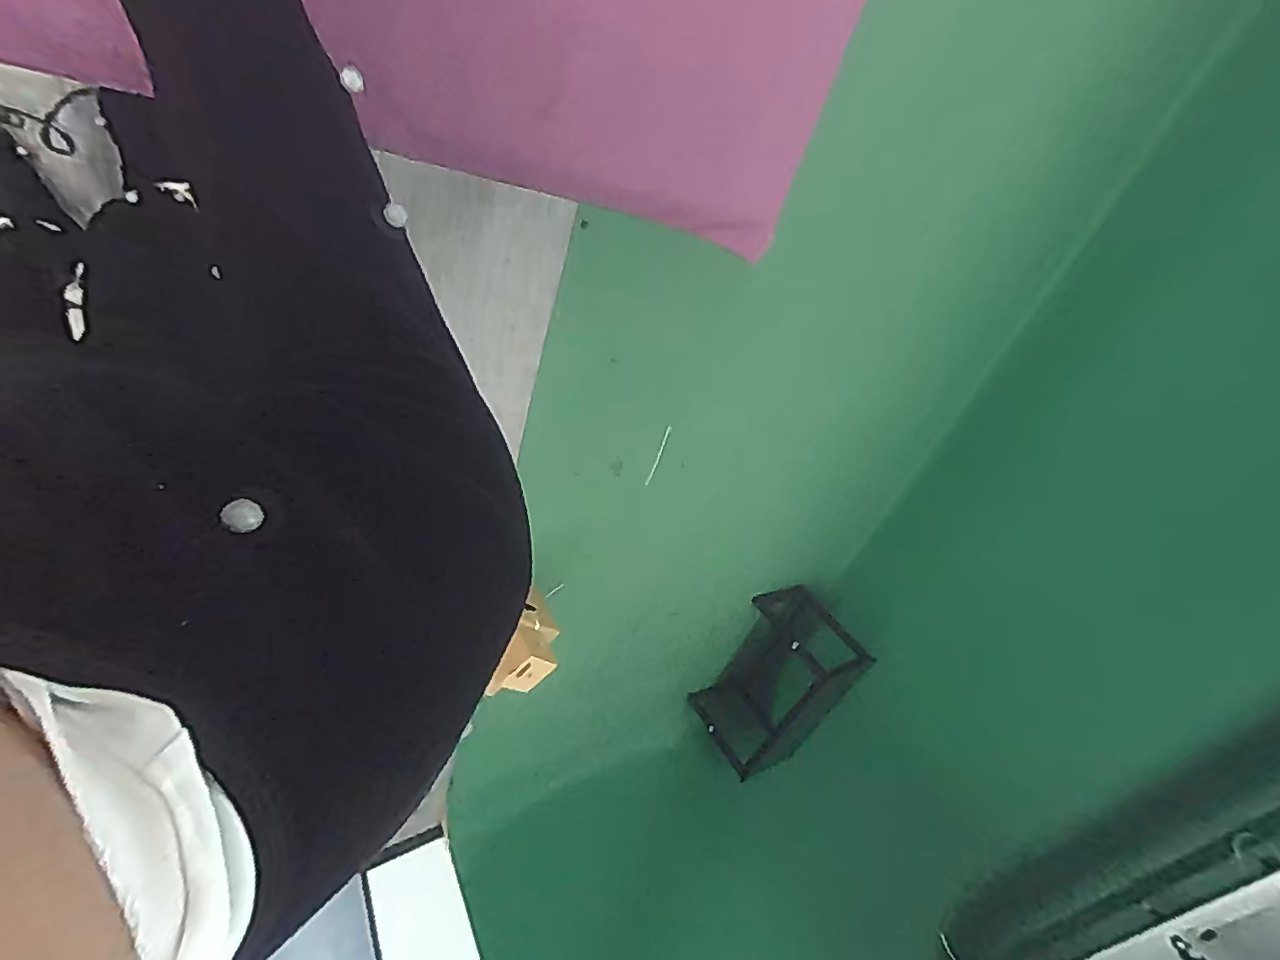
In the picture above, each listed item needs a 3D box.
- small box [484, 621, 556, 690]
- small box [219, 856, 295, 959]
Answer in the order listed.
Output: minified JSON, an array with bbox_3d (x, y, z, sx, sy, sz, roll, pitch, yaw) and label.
[{"bbox_3d":[-0.456,0.657,2.028,0.168,0.176,0.179,-41,142,2],"label":"small box"},{"bbox_3d":[-1.156,1.281,1.625,0.168,0.176,0.179,2,125,-42],"label":"small box"}]
